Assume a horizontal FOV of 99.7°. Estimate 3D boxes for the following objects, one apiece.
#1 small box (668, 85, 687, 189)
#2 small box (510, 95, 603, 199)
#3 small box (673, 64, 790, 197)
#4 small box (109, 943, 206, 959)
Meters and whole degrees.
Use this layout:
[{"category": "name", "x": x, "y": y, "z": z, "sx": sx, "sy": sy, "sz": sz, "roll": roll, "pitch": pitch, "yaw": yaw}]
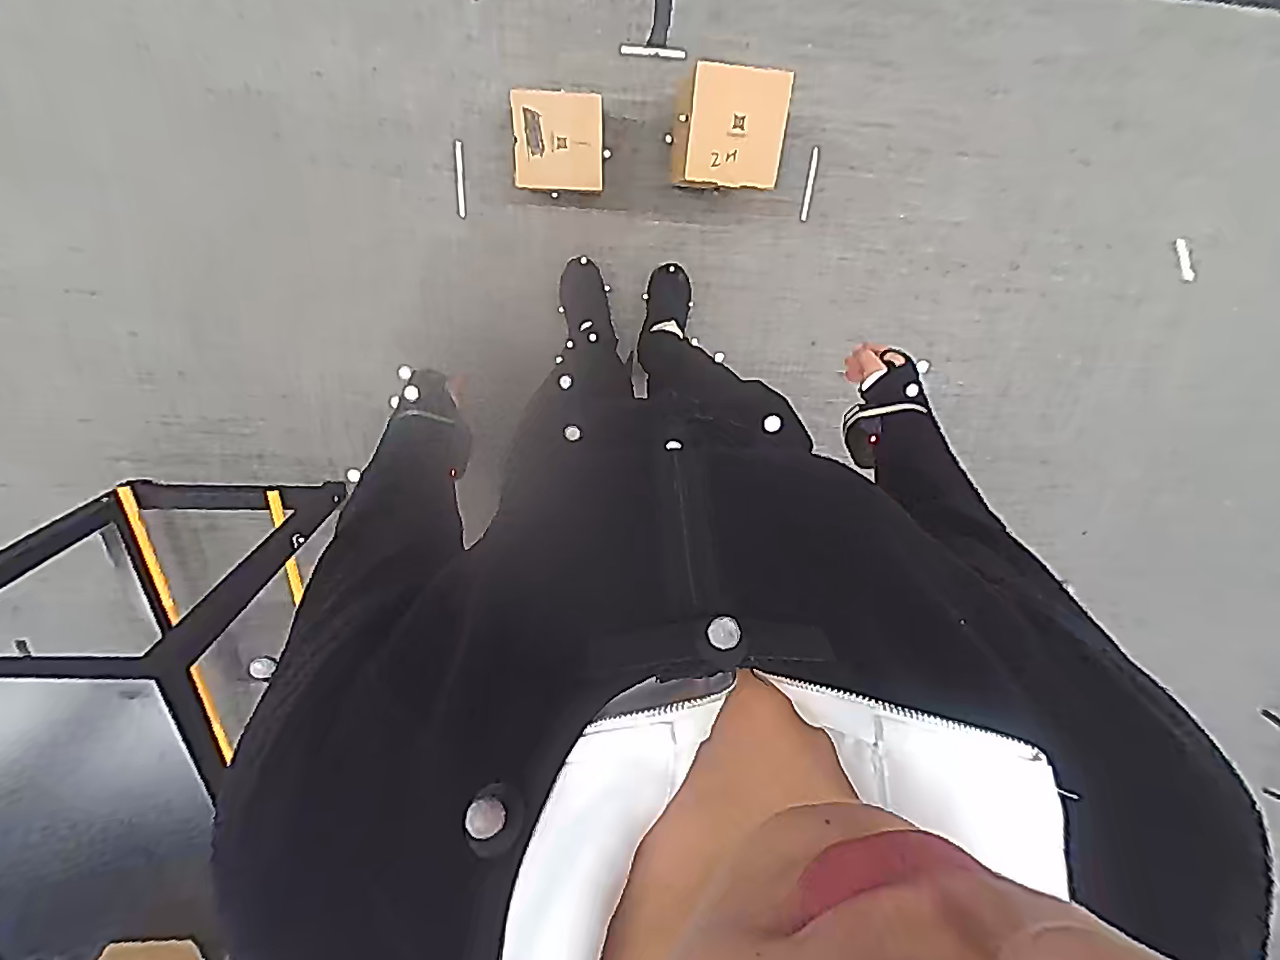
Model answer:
[{"category": "small box", "x": 0.152, "y": -0.711, "z": 1.148, "sx": 0.168, "sy": 0.176, "sz": 0.179, "roll": 2, "pitch": 116, "yaw": -4}, {"category": "small box", "x": -0.168, "y": -0.689, "z": 1.135, "sx": 0.179, "sy": 0.176, "sz": 0.168, "roll": 0, "pitch": 116, "yaw": -4}, {"category": "small box", "x": 0.157, "y": -0.633, "z": 1.001, "sx": 0.168, "sy": 0.176, "sz": 0.179, "roll": 3, "pitch": 116, "yaw": -5}, {"category": "small box", "x": -1.062, "y": 1.122, "z": 1.145, "sx": 0.179, "sy": 0.176, "sz": 0.168, "roll": 0, "pitch": 117, "yaw": -4}]
